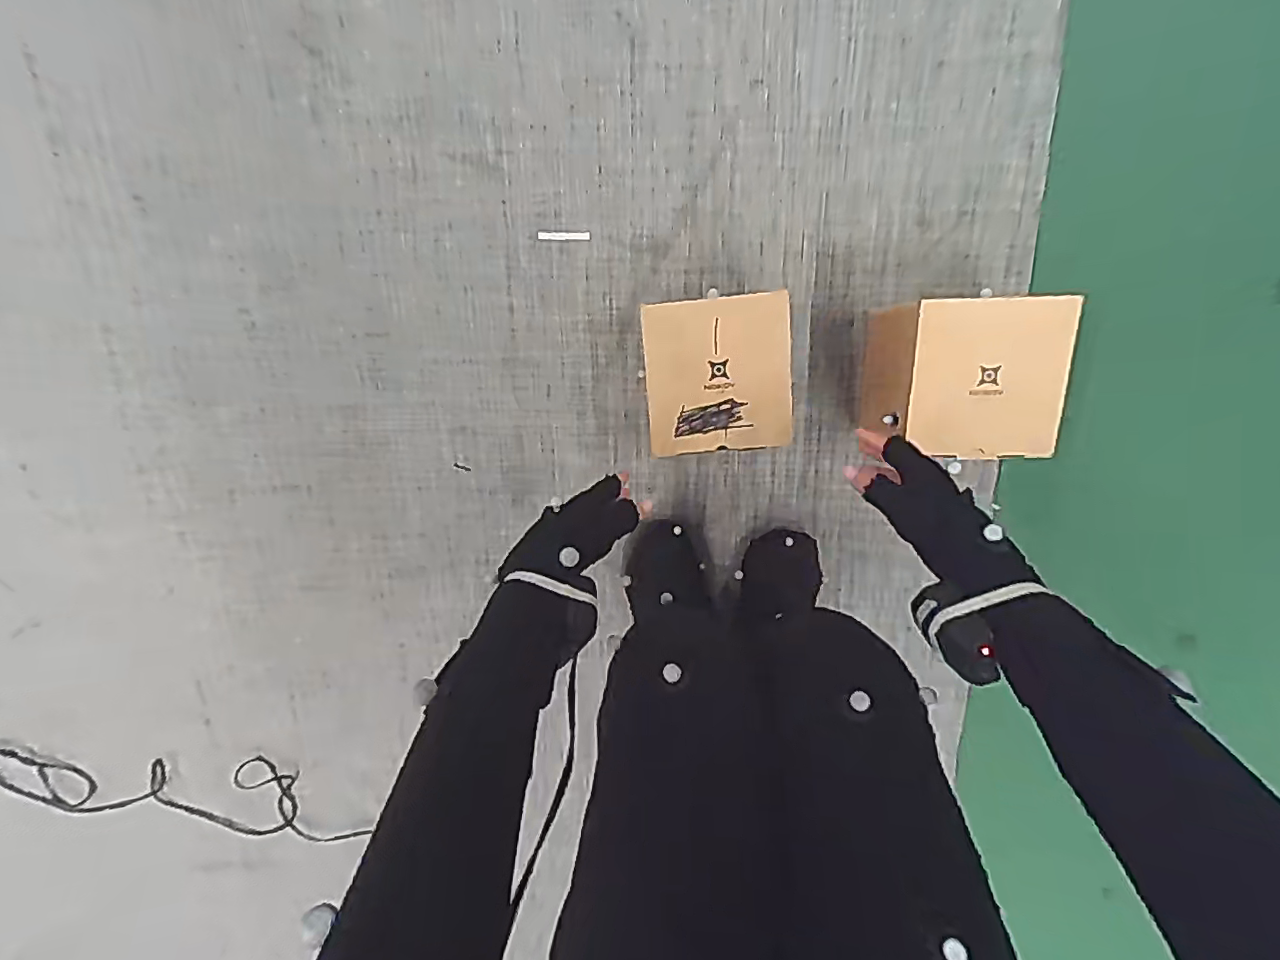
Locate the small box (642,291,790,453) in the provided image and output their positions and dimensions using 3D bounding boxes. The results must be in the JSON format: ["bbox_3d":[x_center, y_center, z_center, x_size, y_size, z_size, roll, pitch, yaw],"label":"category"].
[{"bbox_3d":[0.096,-0.139,0.695,0.168,0.176,0.179,-4,103,5],"label":"small box"}]

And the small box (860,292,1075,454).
[{"bbox_3d":[0.387,-0.132,0.674,0.168,0.176,0.179,1,104,5],"label":"small box"}]
